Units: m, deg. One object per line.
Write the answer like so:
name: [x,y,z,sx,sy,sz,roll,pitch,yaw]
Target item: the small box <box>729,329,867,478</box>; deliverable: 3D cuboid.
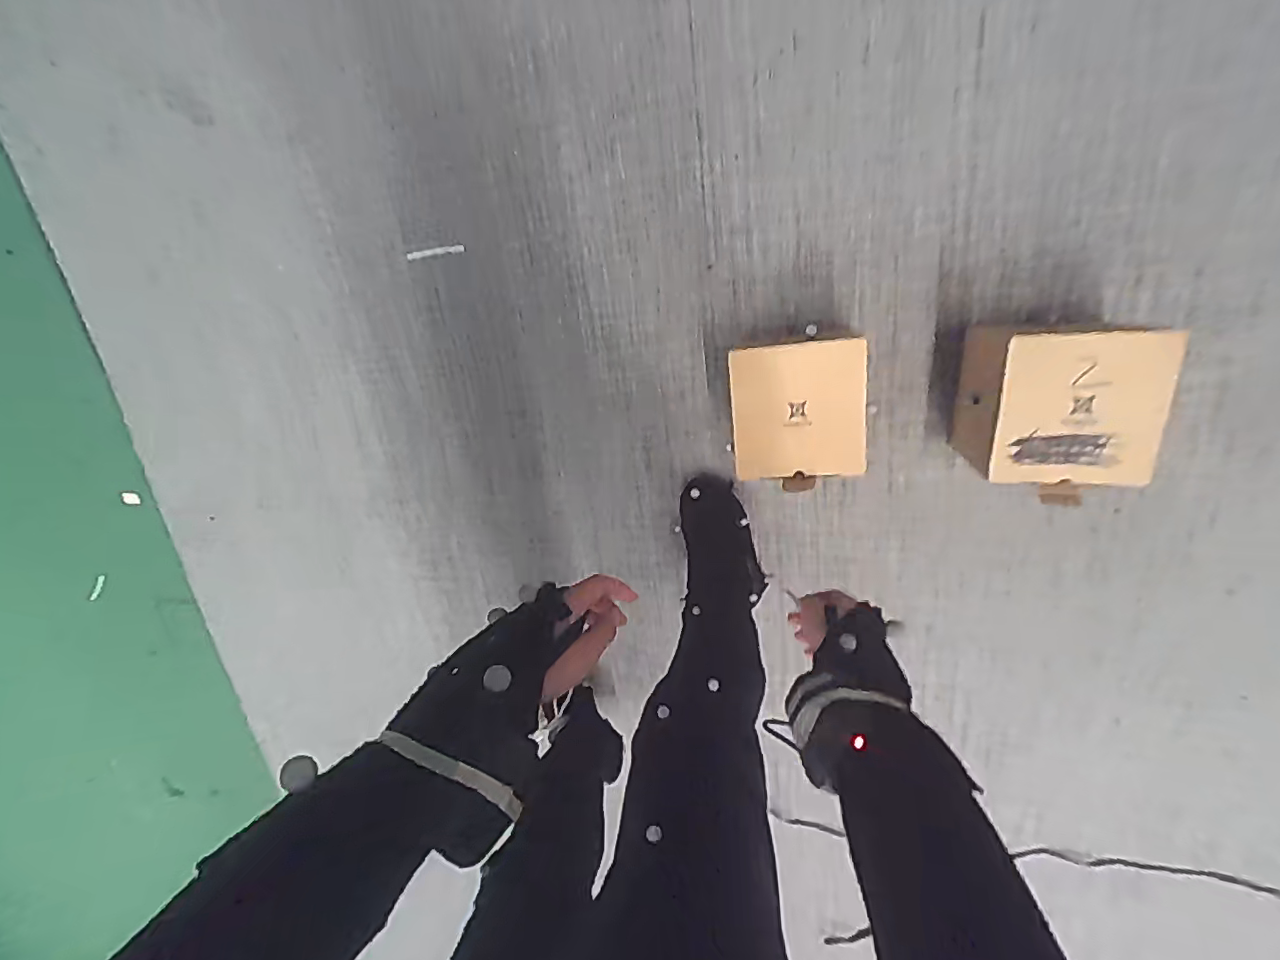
small box: [0.214,-0.113,0.752,0.168,0.176,0.179,-3,109,15]
